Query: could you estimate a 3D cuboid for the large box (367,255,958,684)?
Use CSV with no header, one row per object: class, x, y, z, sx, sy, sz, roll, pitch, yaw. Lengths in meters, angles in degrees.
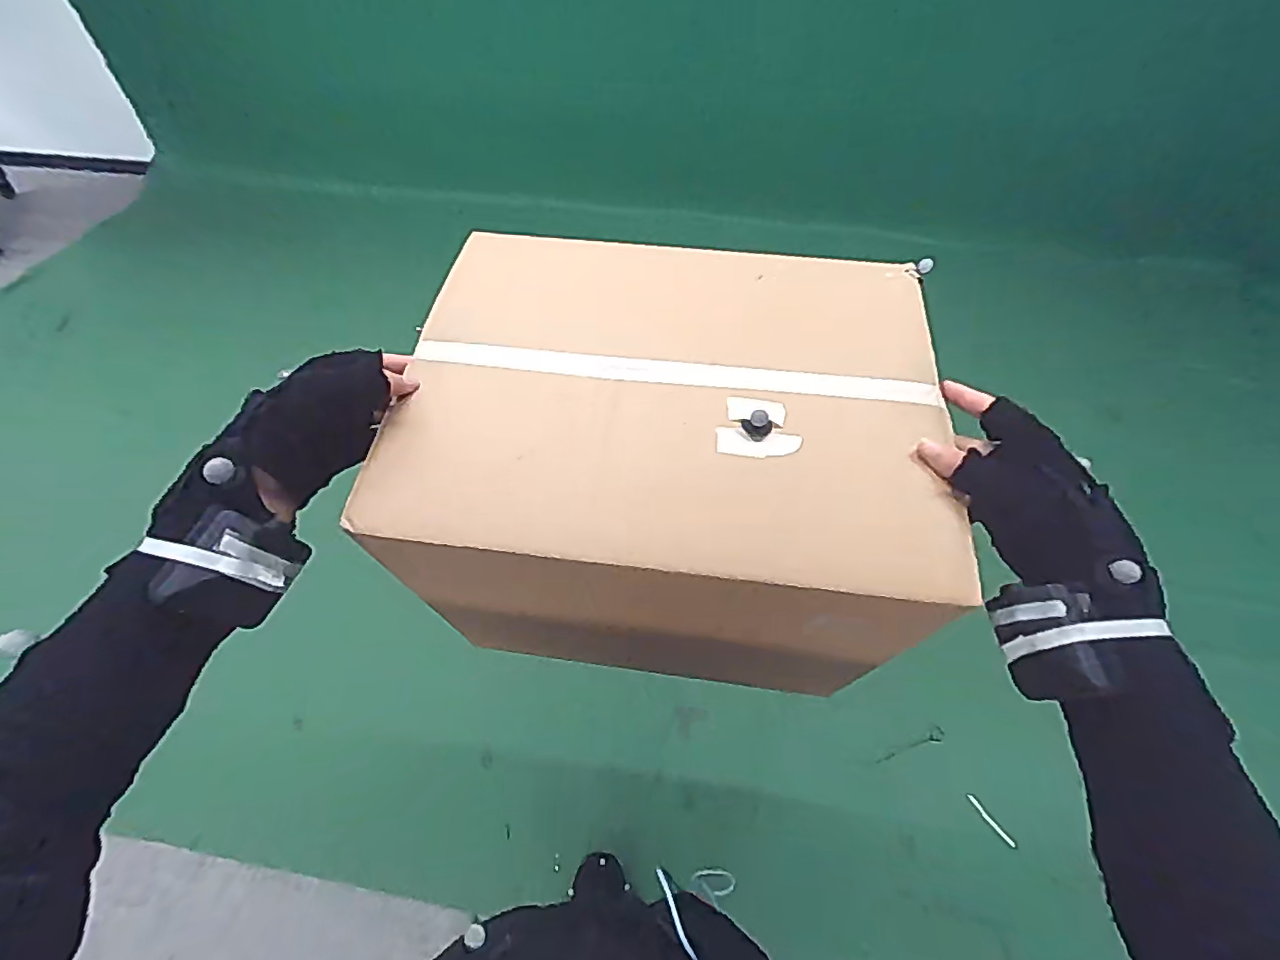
large box,0.025,0.004,0.559,0.408,0.320,0.320,6,60,5
